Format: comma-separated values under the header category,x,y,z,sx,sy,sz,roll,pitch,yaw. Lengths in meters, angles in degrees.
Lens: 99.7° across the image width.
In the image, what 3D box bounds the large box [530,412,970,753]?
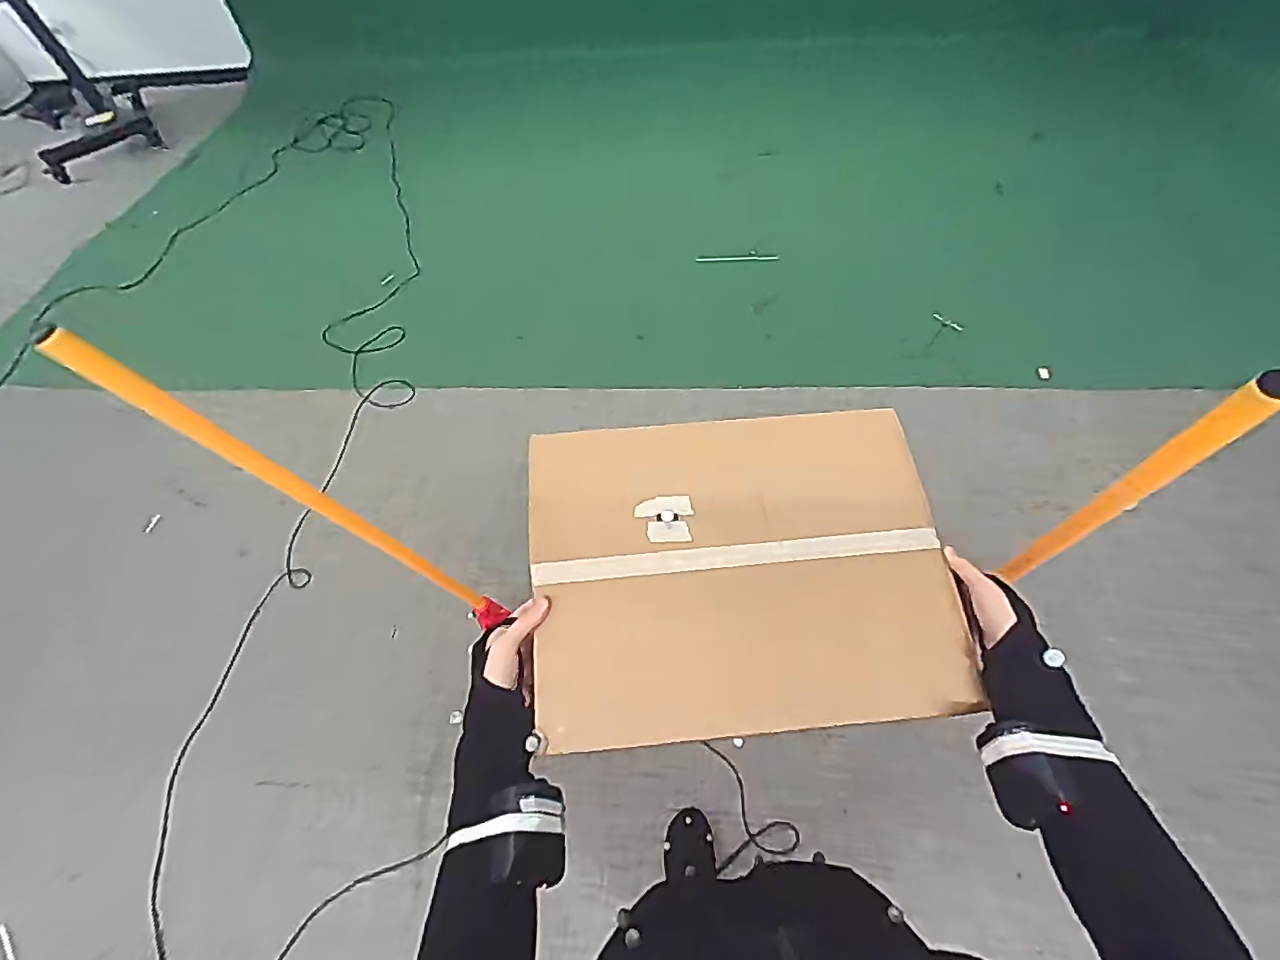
category,x,y,z,sx,sy,sz,roll,pitch,yaw
large box,0.095,0.141,0.682,0.408,0.320,0.320,-5,66,-1
